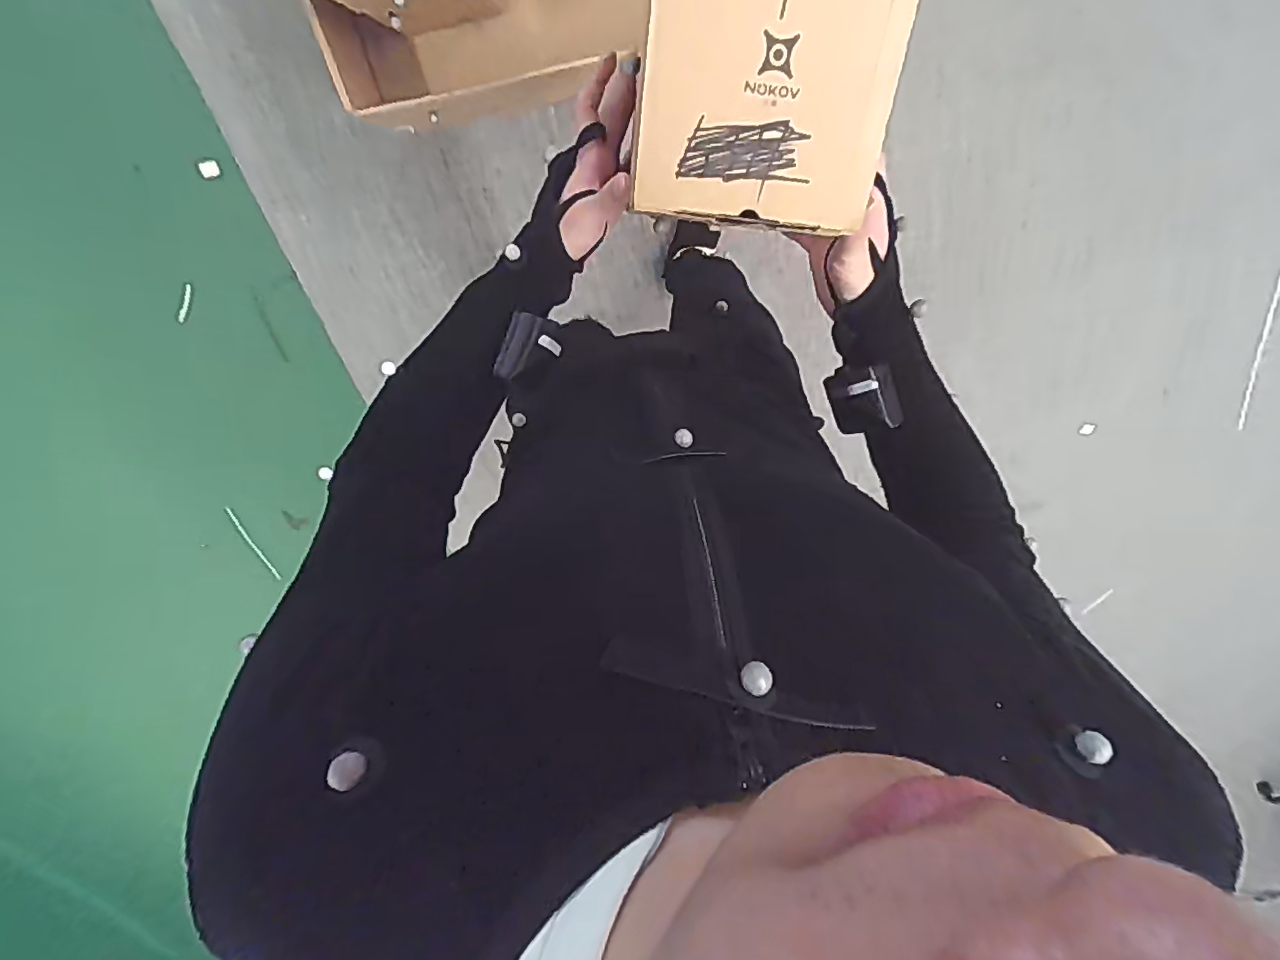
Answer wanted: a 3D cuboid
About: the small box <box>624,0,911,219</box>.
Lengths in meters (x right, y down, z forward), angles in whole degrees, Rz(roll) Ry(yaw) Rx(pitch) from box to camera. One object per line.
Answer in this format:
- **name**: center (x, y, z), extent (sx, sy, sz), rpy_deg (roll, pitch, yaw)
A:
- **small box**: center (0.077, -0.301, 0.408), extent (0.168, 0.176, 0.179), rpy_deg (4, 115, -4)
